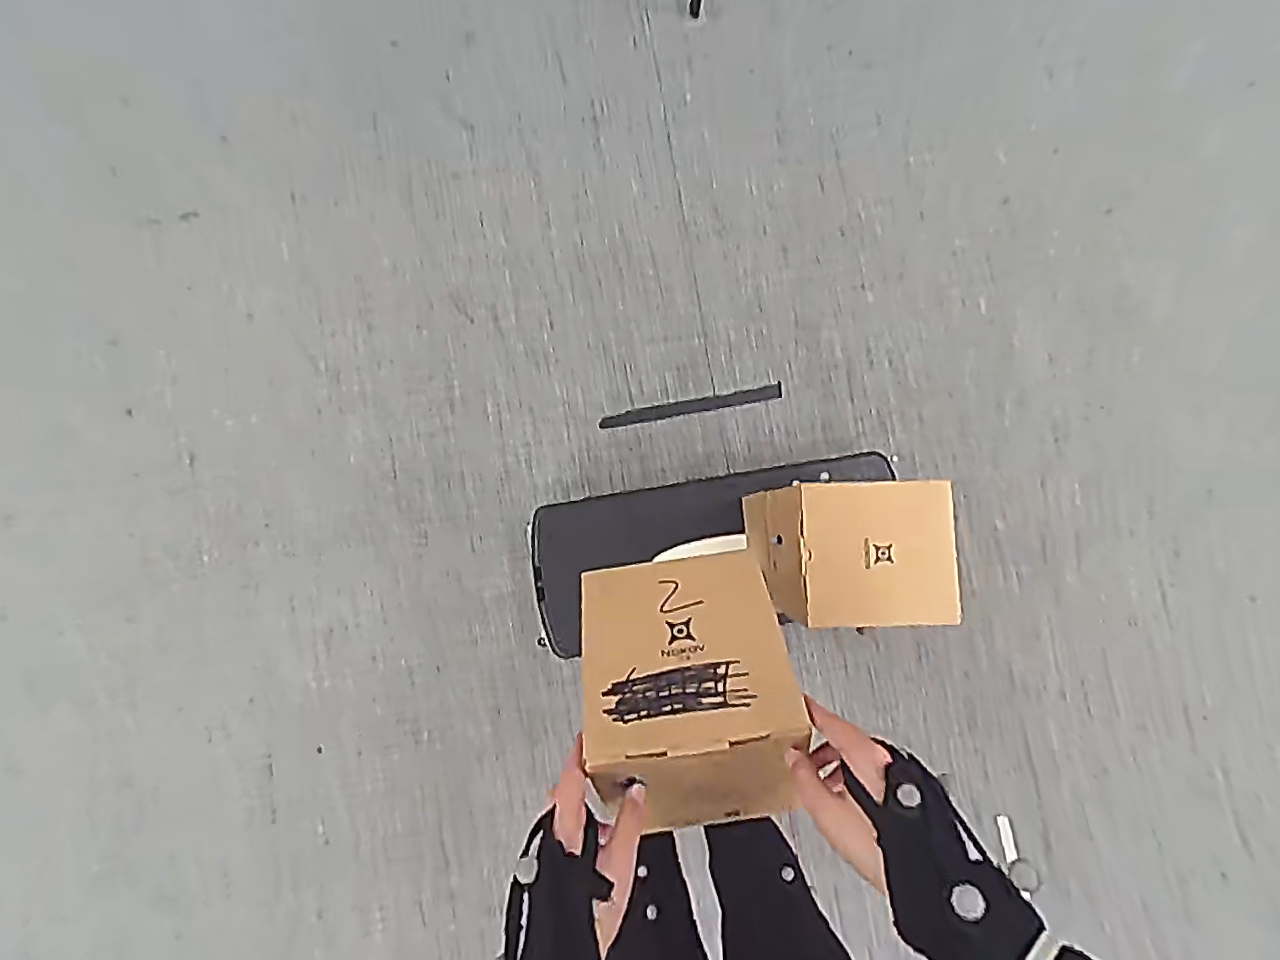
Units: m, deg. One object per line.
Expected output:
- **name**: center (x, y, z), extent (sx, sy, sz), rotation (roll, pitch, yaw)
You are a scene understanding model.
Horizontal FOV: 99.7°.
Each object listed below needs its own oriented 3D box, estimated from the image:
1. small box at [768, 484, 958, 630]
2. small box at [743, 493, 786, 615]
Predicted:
- **small box**: center (0.272, 0.091, 0.694), extent (0.179, 0.176, 0.168), rotation (-2, 86, 2)
- **small box**: center (0.263, 0.106, 0.856), extent (0.168, 0.176, 0.179), rotation (-5, 85, 0)
